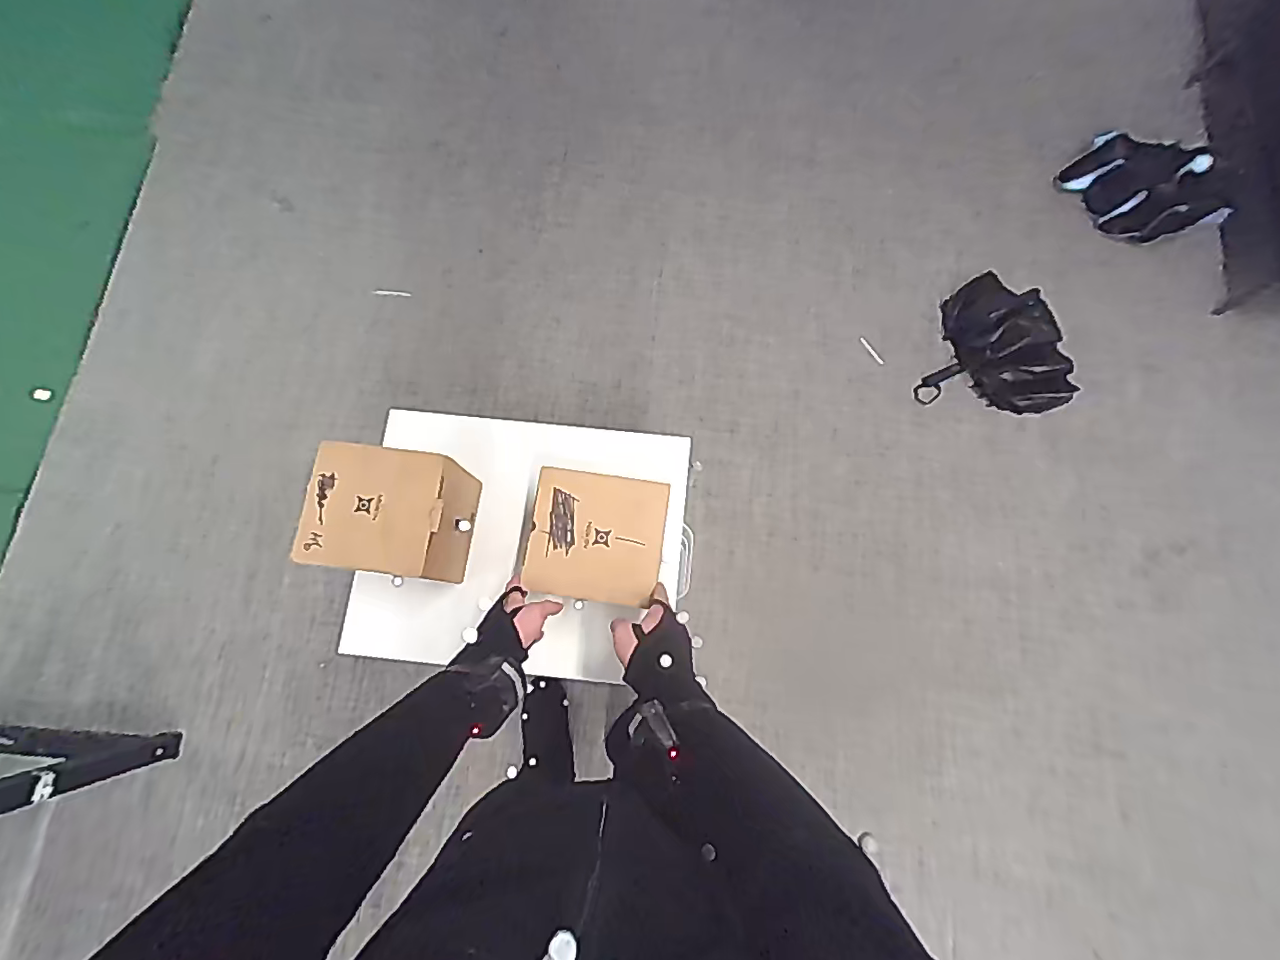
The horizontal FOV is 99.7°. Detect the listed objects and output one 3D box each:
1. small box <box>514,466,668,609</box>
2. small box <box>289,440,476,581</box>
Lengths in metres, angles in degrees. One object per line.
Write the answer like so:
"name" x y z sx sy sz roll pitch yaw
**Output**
"small box" -0.060 0.089 0.766 0.179 0.176 0.168 8 78 2
"small box" -0.352 0.053 0.779 0.179 0.176 0.168 7 77 0
